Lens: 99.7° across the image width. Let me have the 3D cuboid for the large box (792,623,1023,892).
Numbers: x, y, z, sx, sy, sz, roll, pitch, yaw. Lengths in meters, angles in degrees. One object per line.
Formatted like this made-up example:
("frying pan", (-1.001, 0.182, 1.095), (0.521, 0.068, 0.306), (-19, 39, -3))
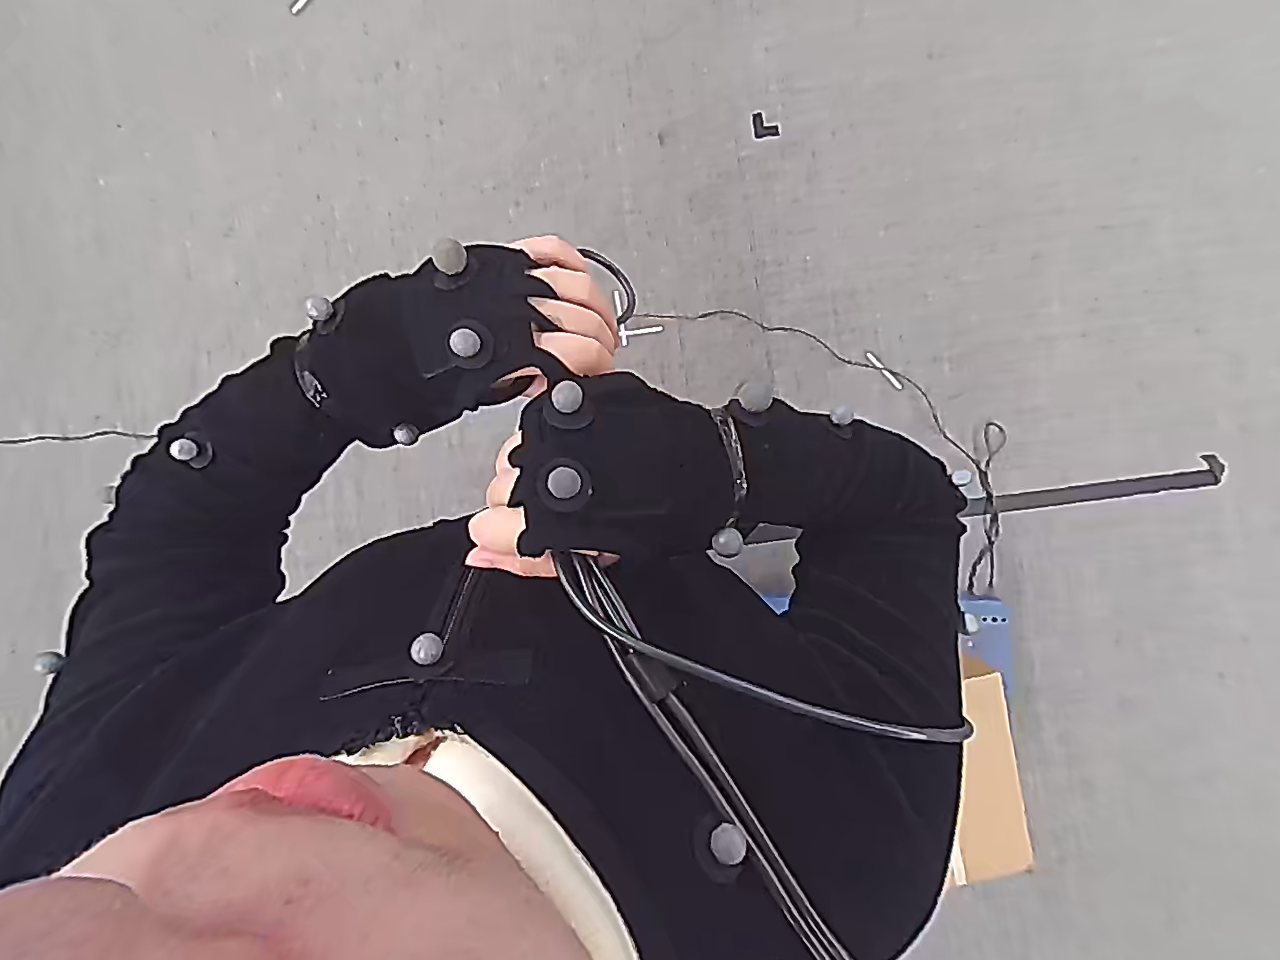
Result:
("large box", (0.567, 0.582, 1.207), (0.320, 0.320, 0.408), (-11, 93, -1))
